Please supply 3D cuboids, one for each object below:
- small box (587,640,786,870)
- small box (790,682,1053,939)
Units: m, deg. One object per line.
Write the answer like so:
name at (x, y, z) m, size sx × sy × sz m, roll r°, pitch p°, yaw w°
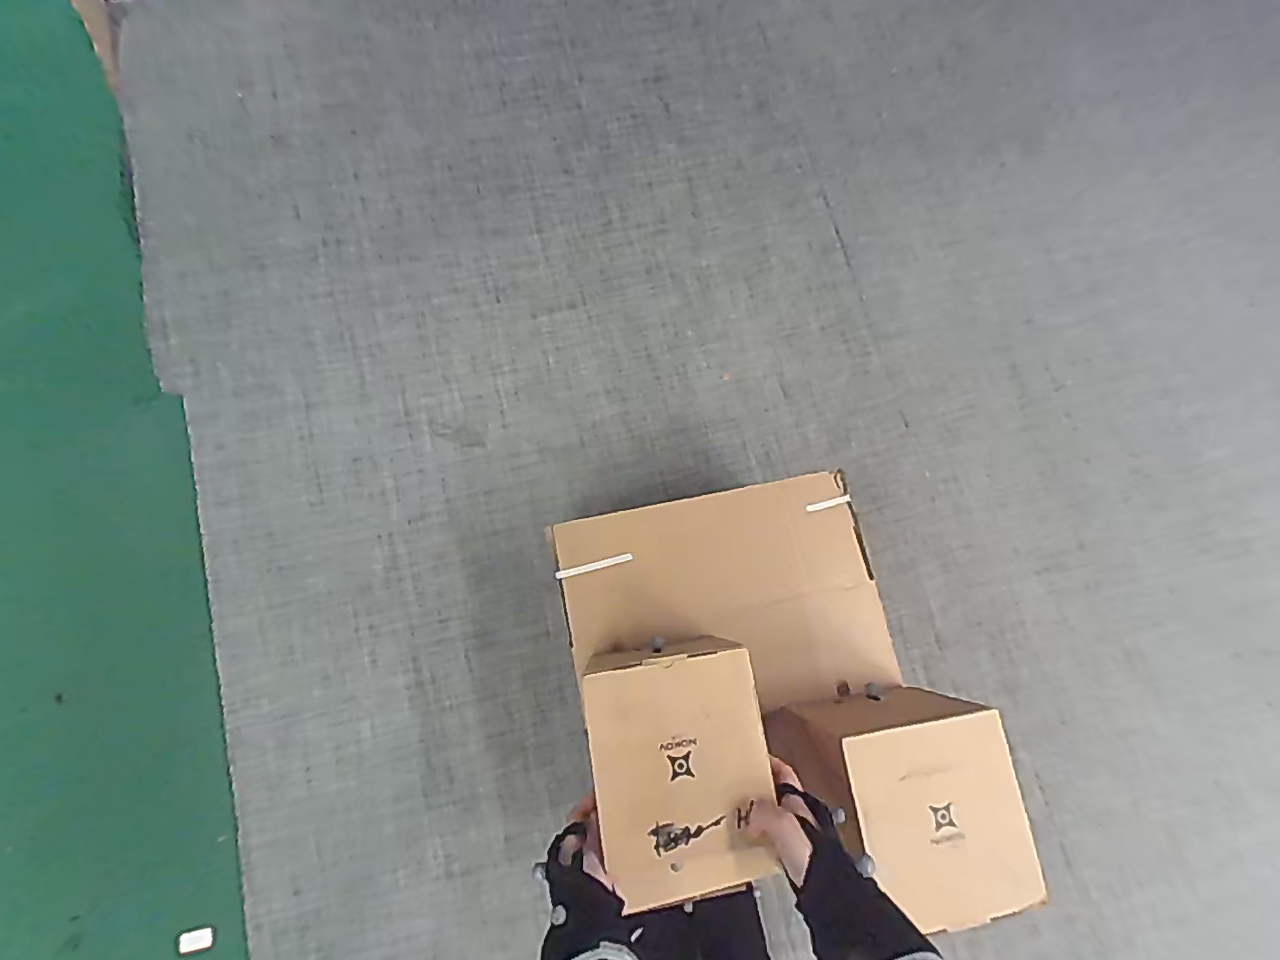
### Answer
small box at (0.037, 0.271, 0.579) m, size 0.168 × 0.176 × 0.179 m, roll -9°, pitch 77°, yaw -3°
small box at (0.278, 0.329, 0.578) m, size 0.168 × 0.176 × 0.179 m, roll -7°, pitch 78°, yaw -6°
